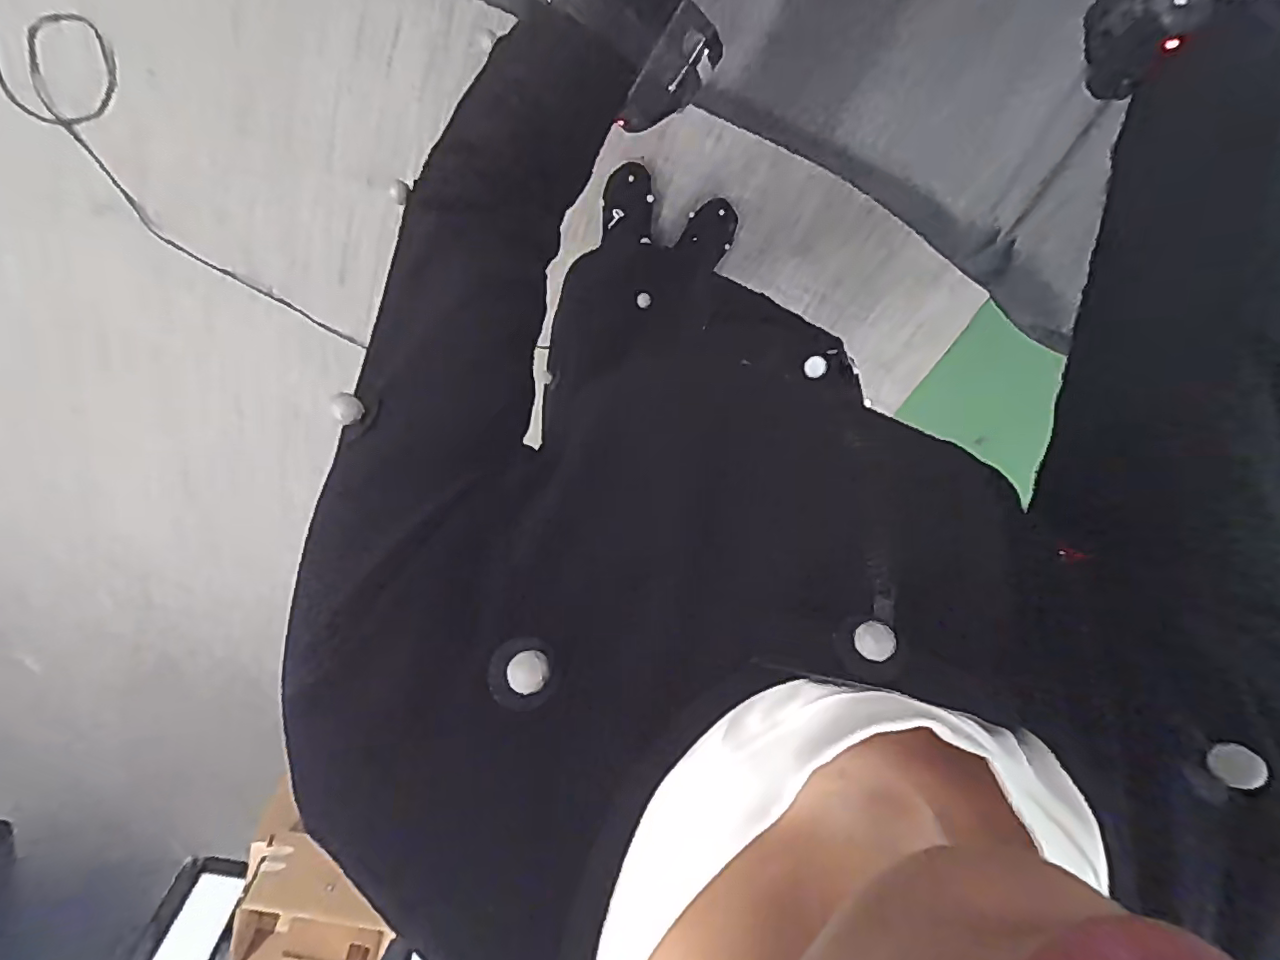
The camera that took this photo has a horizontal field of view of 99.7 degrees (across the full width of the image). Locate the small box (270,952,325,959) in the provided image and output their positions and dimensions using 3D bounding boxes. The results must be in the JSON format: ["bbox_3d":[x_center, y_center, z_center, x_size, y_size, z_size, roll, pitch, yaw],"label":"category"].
[{"bbox_3d":[-0.953,1.411,1.461,0.179,0.176,0.168,24,122,-13],"label":"small box"}]

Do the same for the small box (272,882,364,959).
[{"bbox_3d":[-0.951,1.322,1.600,0.179,0.176,0.168,21,123,-12],"label":"small box"}]
